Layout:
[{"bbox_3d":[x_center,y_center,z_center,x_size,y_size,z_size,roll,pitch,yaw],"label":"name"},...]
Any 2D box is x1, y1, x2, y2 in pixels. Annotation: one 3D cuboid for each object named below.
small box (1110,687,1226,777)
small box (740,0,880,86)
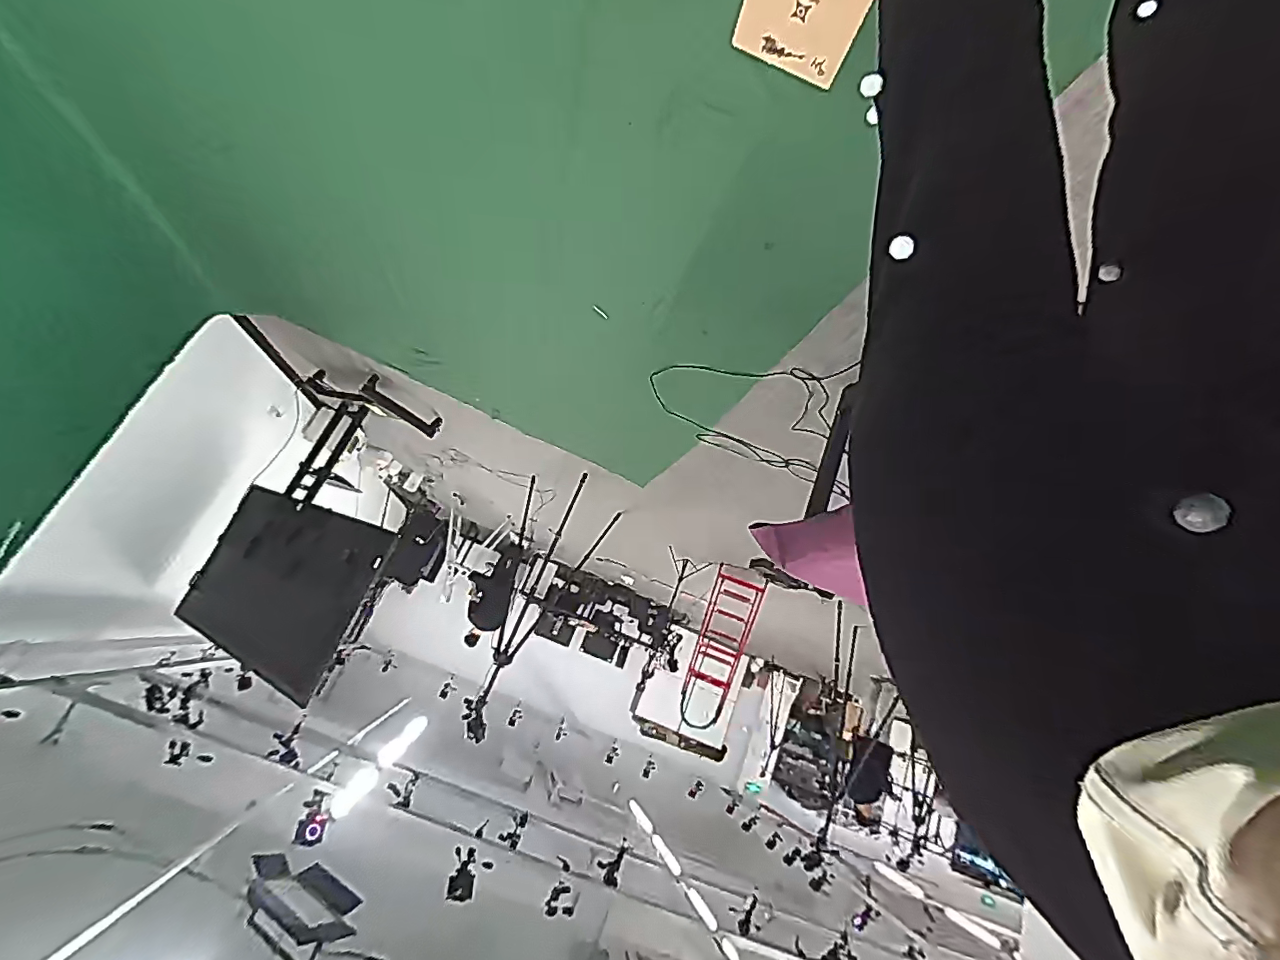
[{"bbox_3d":[1.480,0.695,1.514,0.168,0.176,0.179,23,162,0],"label":"small box"},{"bbox_3d":[0.267,-0.729,0.768,0.168,0.176,0.179,25,162,-2],"label":"small box"}]
